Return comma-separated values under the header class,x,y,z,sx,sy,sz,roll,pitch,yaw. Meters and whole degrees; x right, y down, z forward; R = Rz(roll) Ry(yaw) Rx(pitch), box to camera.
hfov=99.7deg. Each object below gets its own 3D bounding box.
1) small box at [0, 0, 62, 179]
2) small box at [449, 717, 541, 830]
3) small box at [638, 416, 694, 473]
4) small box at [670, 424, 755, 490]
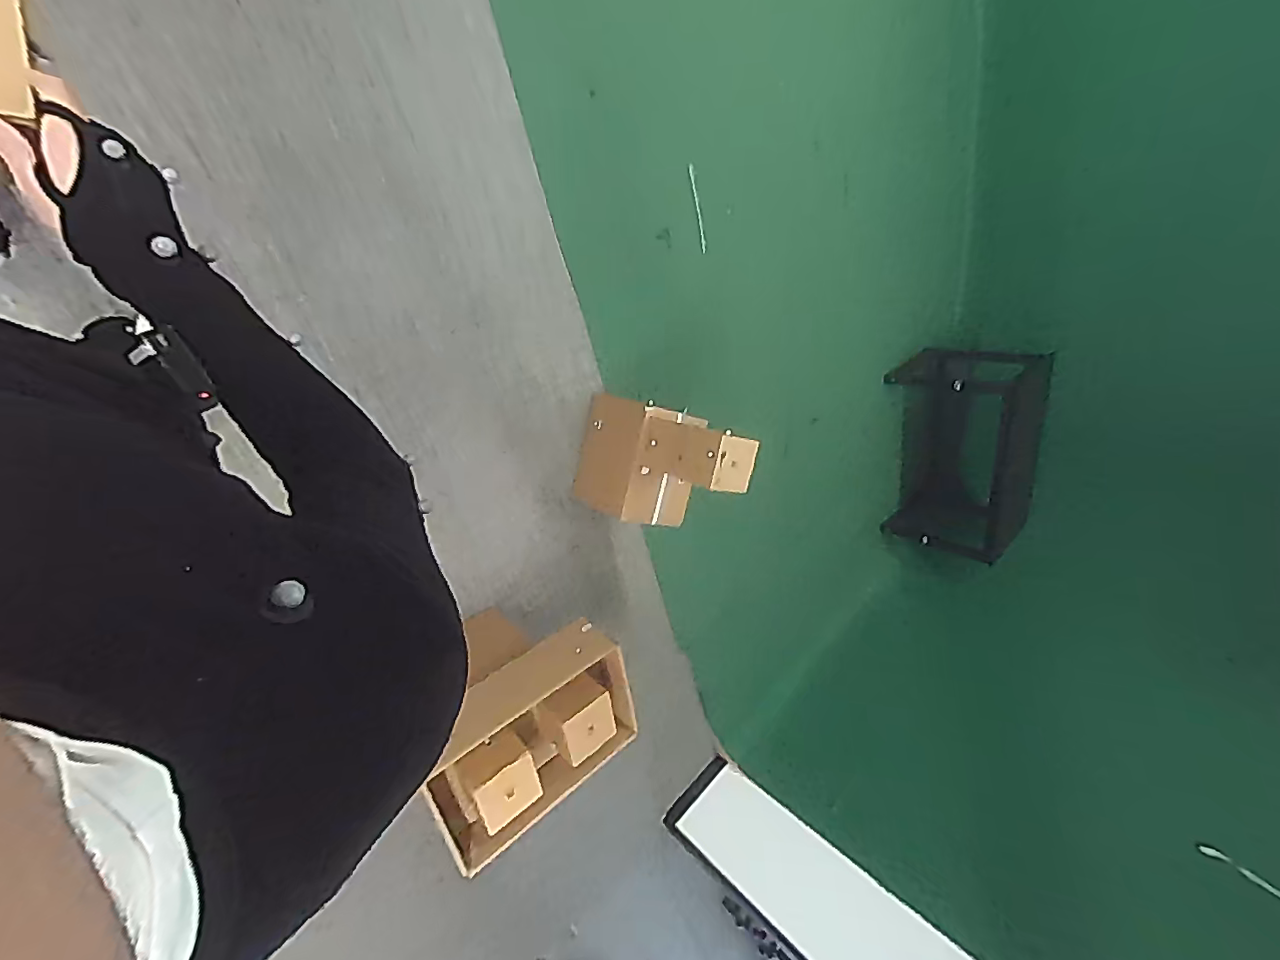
class,x,y,z,sx,sy,sz,roll,pitch,yaw
small box,-0.564,-0.352,0.398,0.168,0.176,0.179,-9,100,-42
small box,-0.398,0.798,1.487,0.168,0.176,0.179,-27,120,-33
small box,0.123,-0.113,1.793,0.179,0.176,0.168,6,100,-42
small box,0.221,-0.072,1.668,0.179,0.176,0.168,5,101,-43
